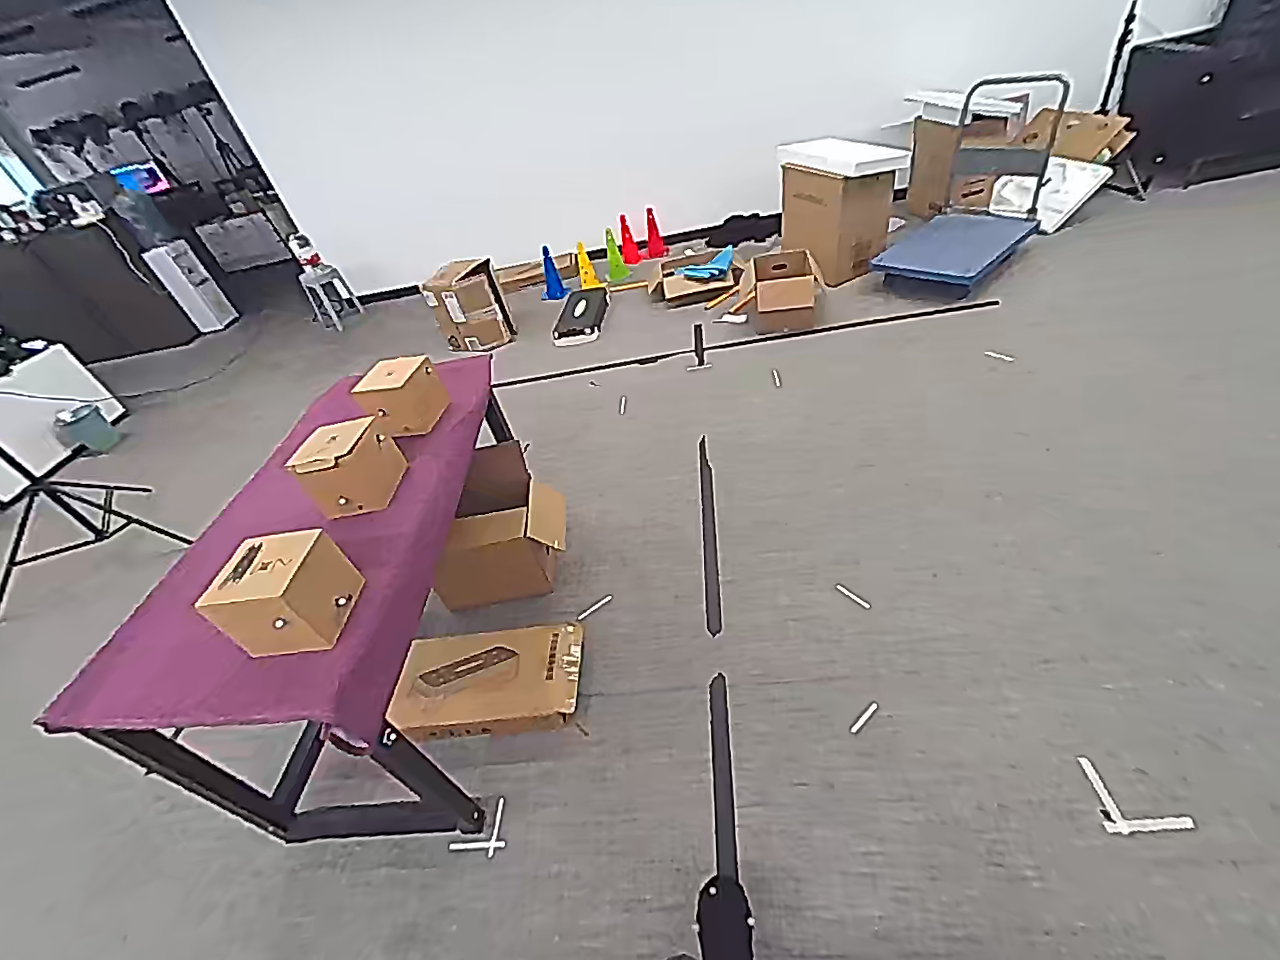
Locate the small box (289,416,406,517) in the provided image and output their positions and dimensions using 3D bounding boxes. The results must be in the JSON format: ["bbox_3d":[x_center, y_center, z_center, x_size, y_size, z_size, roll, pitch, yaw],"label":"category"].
[{"bbox_3d":[-0.719,-0.032,1.355,0.168,0.176,0.179,-10,40,9],"label":"small box"}]

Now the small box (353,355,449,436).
[{"bbox_3d":[-0.694,-0.242,1.593,0.168,0.176,0.179,-4,41,13],"label":"small box"}]
